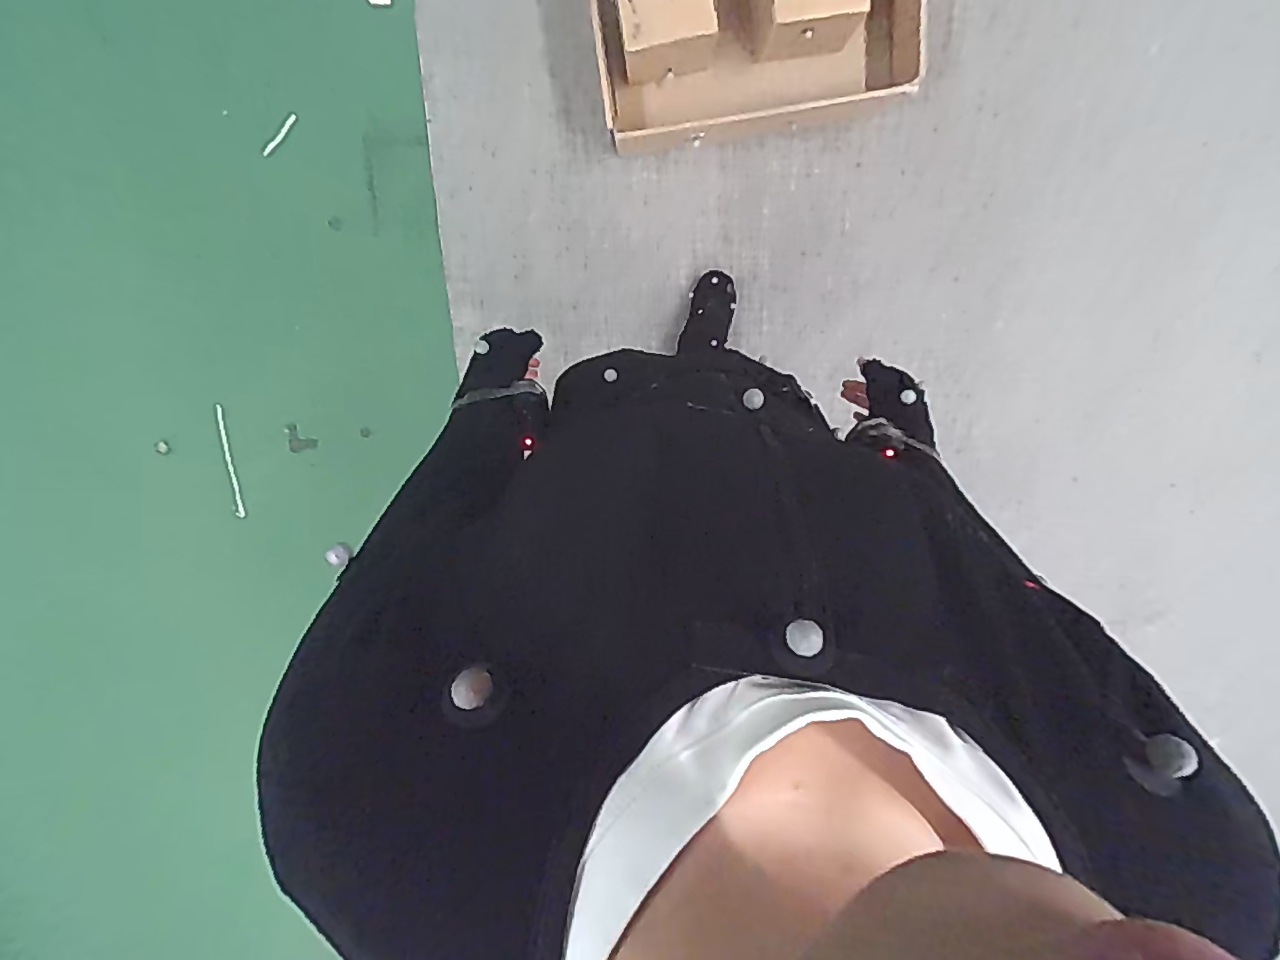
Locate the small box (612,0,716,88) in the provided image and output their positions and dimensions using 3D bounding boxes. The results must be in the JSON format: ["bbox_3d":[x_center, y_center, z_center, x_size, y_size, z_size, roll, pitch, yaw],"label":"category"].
[{"bbox_3d":[0.042,-0.905,1.059,0.179,0.176,0.168,-10,106,2],"label":"small box"}]

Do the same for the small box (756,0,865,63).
[{"bbox_3d":[0.320,-0.941,1.044,0.179,0.176,0.168,-5,108,3],"label":"small box"}]
